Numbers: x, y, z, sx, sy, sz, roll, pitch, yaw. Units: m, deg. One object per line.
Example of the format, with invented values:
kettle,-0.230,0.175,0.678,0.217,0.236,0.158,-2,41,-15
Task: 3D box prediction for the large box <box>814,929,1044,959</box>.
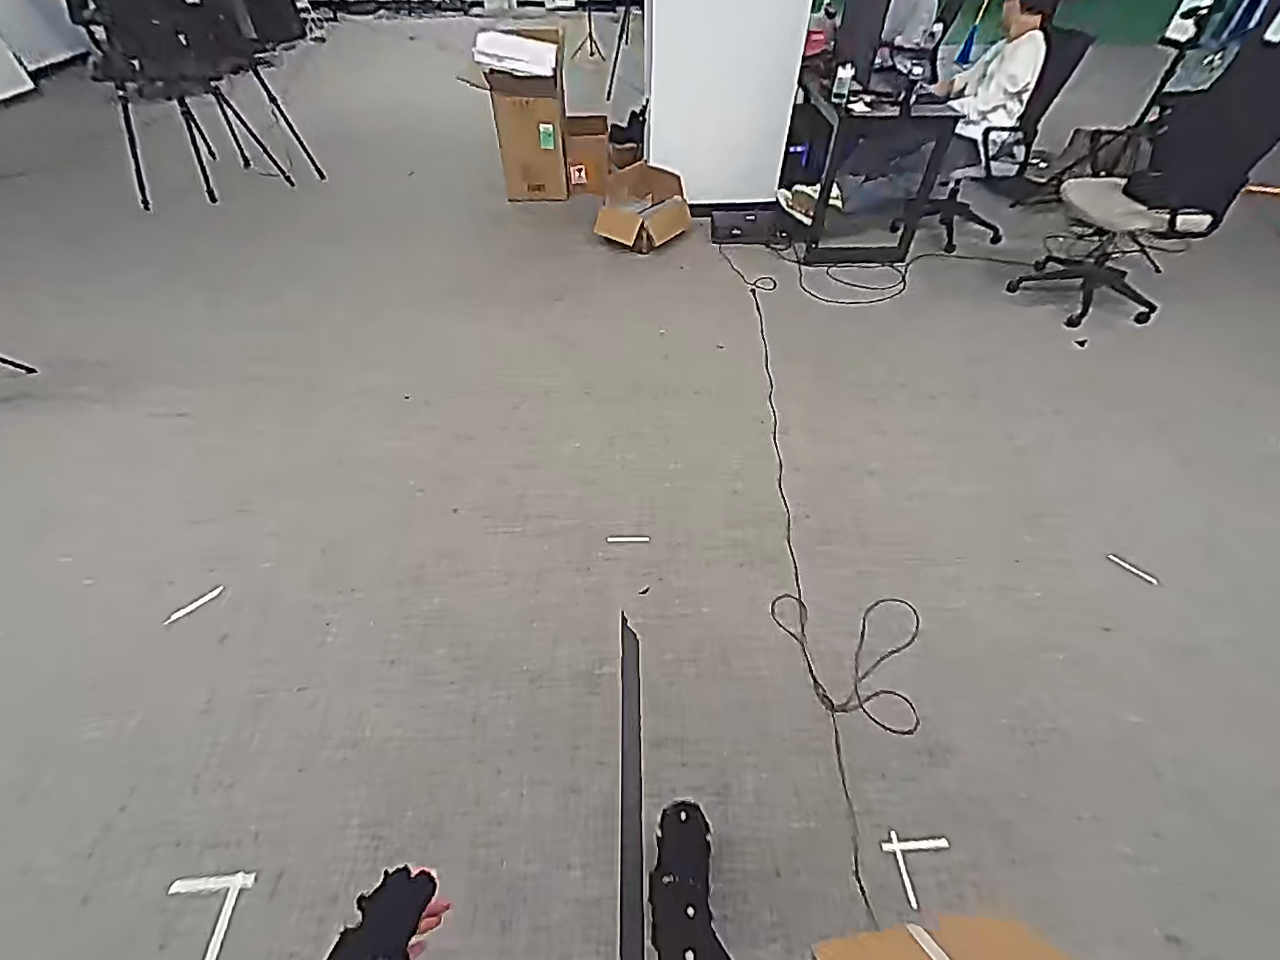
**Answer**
large box,0.422,0.789,0.572,0.320,0.408,0.320,-4,81,-5
